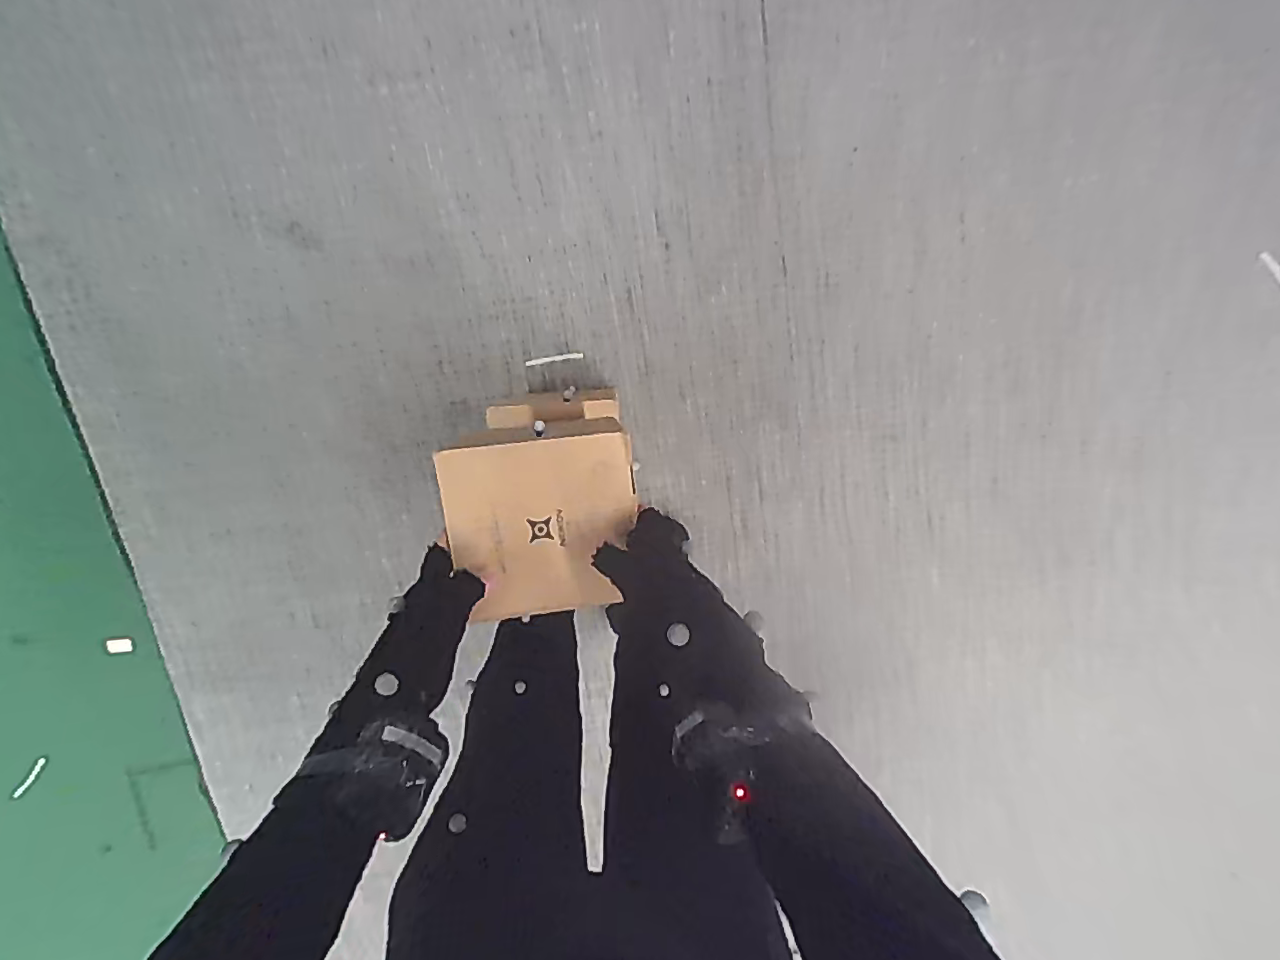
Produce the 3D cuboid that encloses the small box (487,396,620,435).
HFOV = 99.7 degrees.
[{"bbox_3d":[-0.114,-0.031,0.813,0.179,0.176,0.168,-6,104,-1],"label":"small box"}]

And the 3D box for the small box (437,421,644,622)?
[{"bbox_3d":[-0.098,0.031,0.582,0.179,0.176,0.168,-7,102,-5],"label":"small box"}]
